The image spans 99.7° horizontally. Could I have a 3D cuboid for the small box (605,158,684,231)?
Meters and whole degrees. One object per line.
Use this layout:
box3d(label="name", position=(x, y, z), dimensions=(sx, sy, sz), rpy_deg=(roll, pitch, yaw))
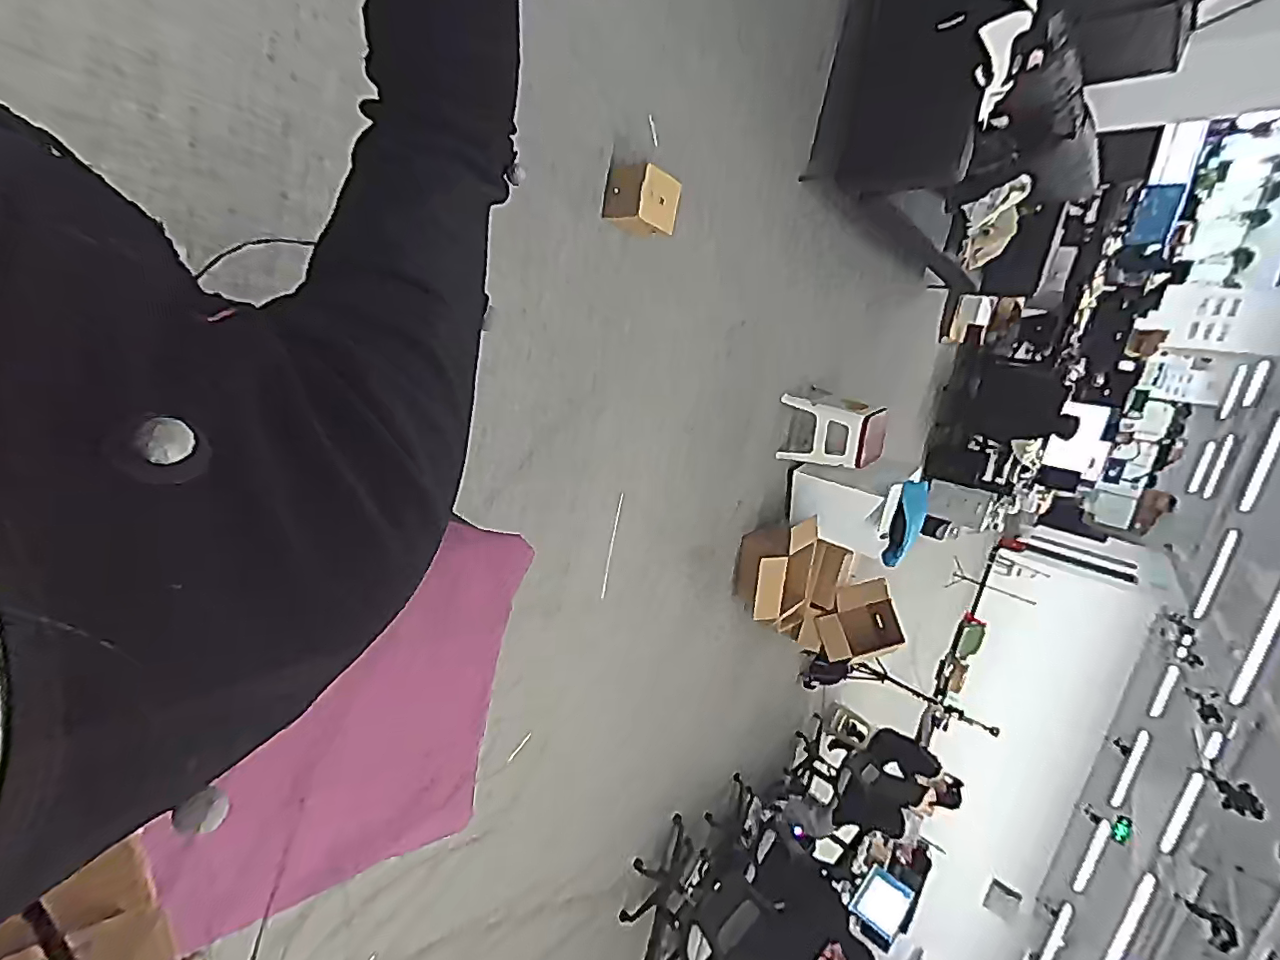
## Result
box3d(label="small box", position=(0.014, -0.940, 1.795), dimensions=(0.179, 0.176, 0.168), rpy_deg=(0, 106, -47))

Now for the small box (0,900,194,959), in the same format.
box3d(label="small box", position=(-0.378, 0.419, 0.324), dimensions=(0.168, 0.176, 0.179), rpy_deg=(9, 101, -50))
